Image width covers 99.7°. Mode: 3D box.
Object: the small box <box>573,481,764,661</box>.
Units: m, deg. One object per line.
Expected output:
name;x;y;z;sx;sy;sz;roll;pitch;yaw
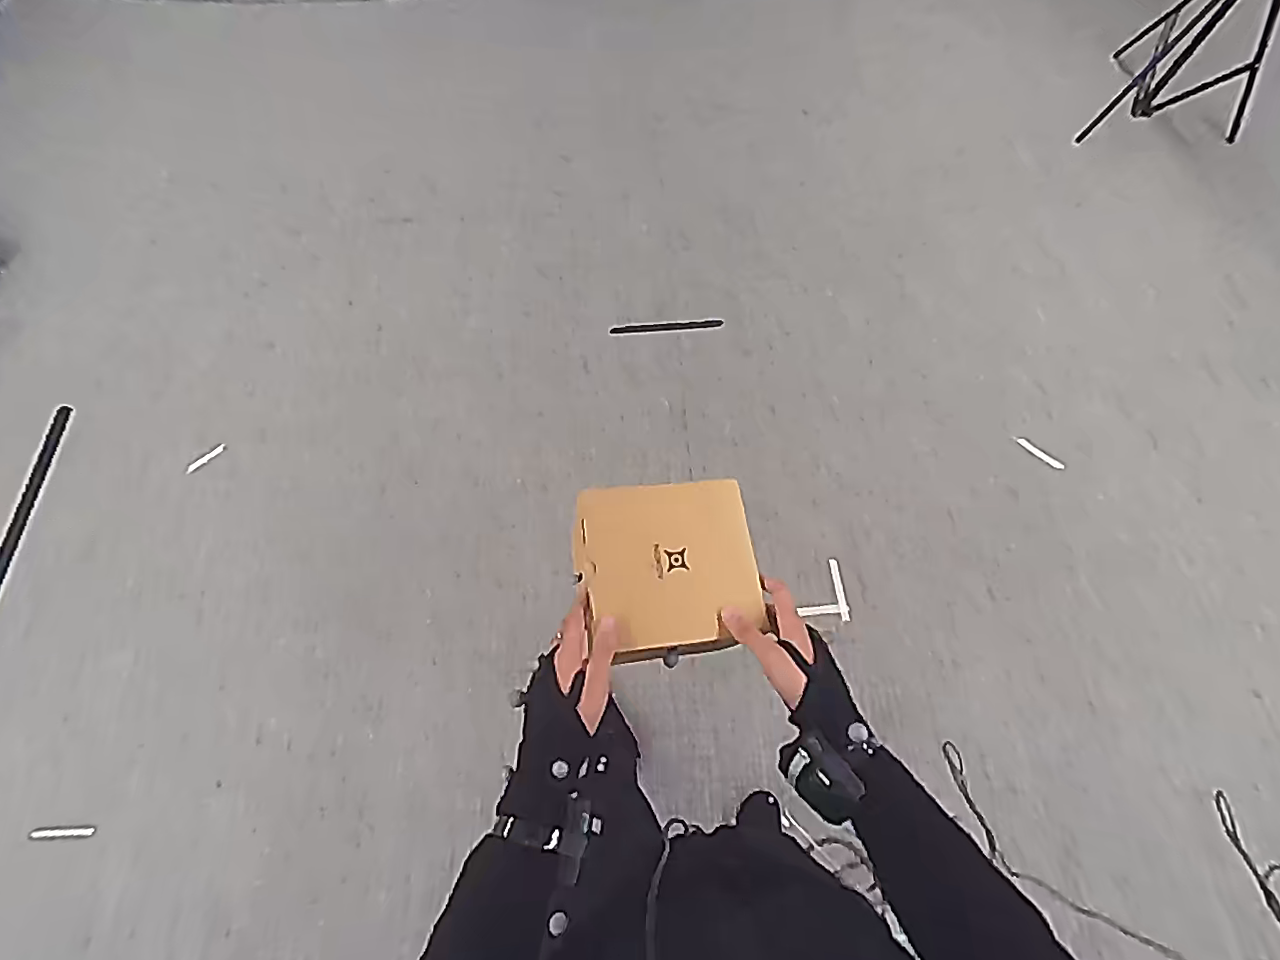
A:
small box;0.018;0.110;0.620;0.179;0.176;0.168;-4;69;-10
